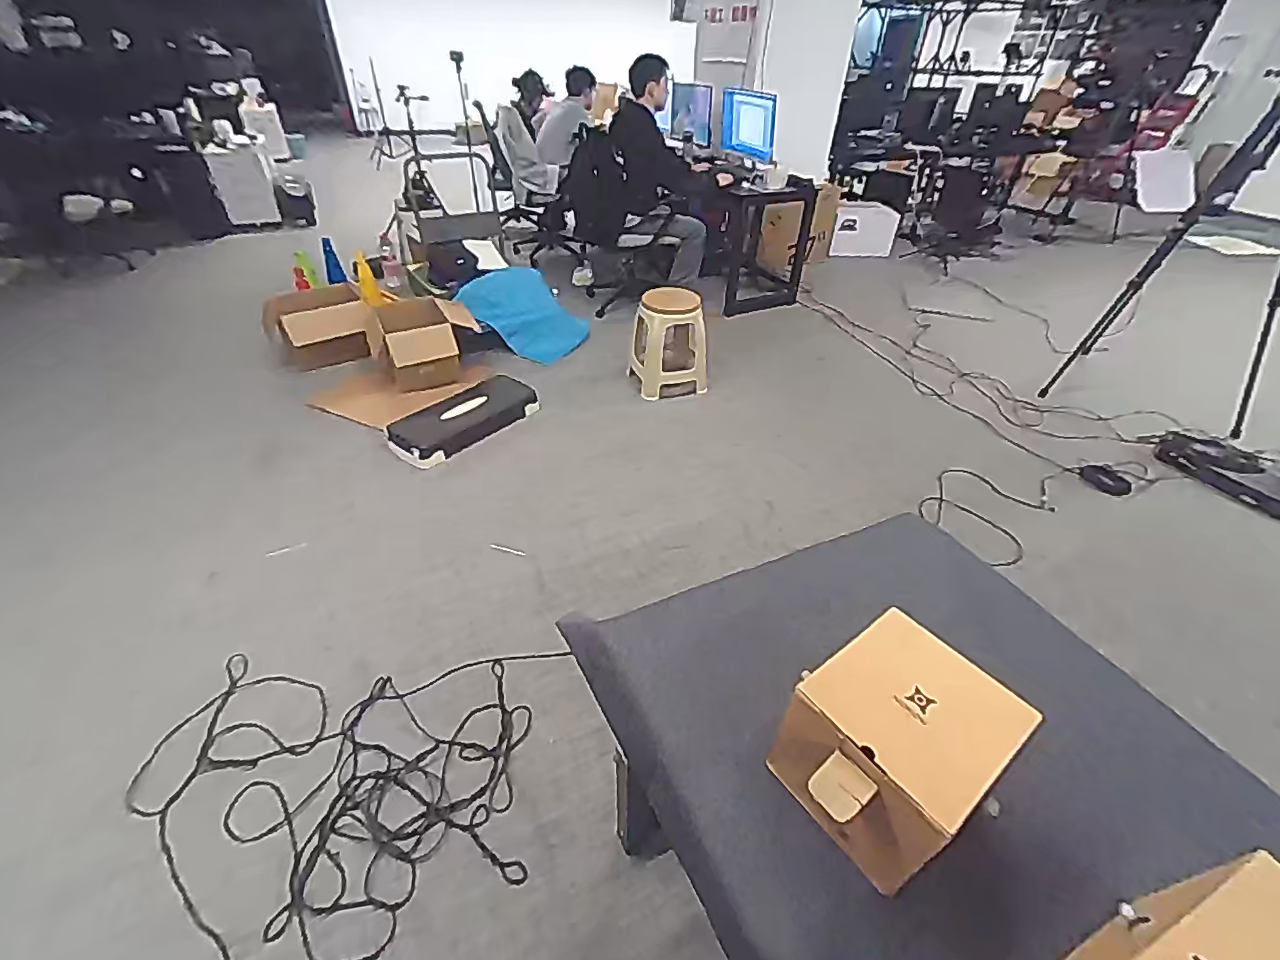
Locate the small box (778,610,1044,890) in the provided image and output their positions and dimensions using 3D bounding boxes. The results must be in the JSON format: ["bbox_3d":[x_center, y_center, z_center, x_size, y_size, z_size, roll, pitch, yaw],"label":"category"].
[{"bbox_3d":[0.272,0.282,0.579,0.179,0.176,0.168,-25,46,-29],"label":"small box"}]
